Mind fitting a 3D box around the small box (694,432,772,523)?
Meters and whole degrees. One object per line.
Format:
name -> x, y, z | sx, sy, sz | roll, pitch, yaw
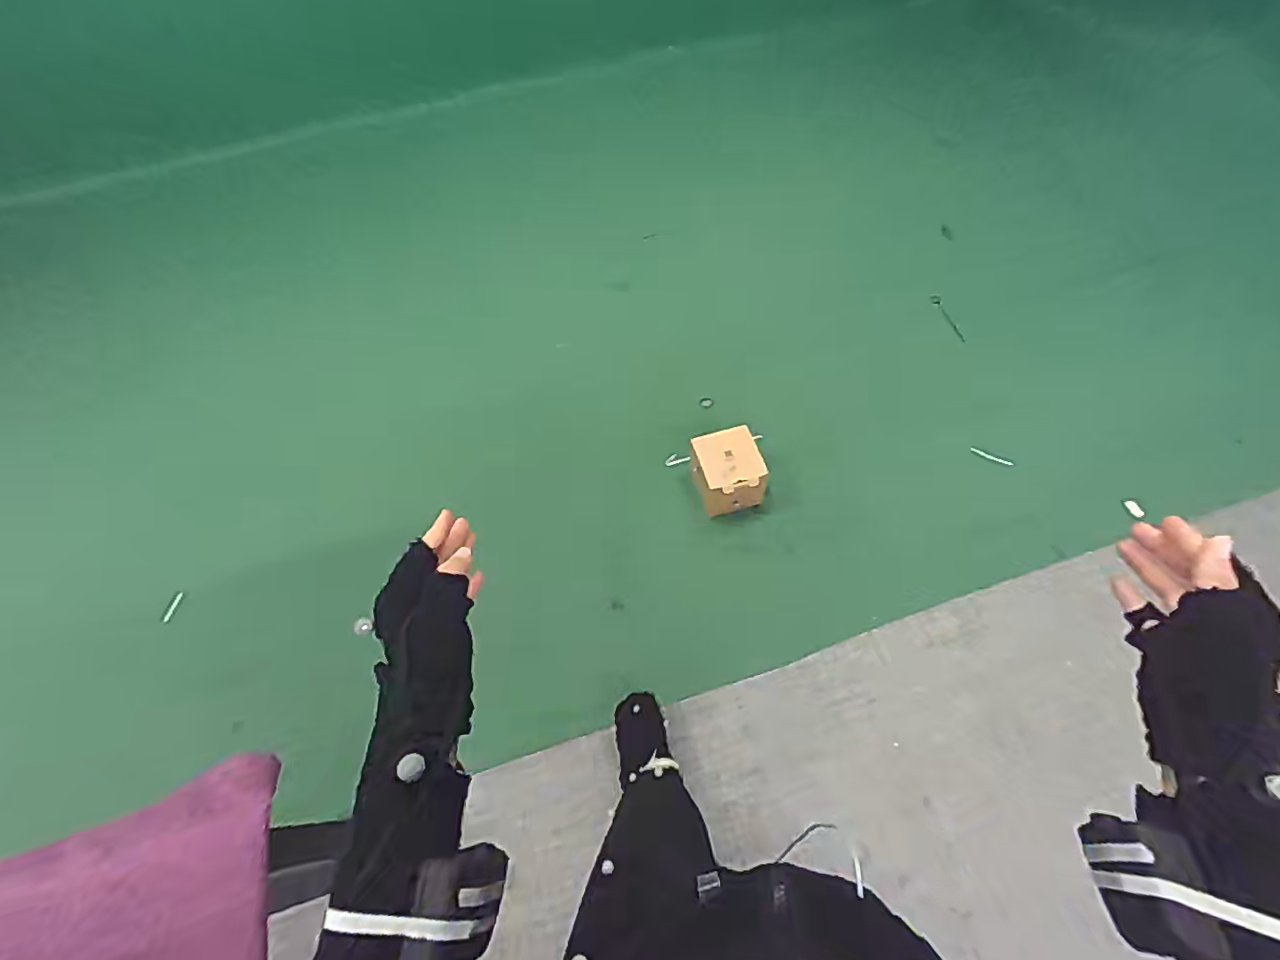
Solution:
small box -> 0.255, -0.004, 1.541 | 0.168, 0.176, 0.179 | -15, 60, -4
